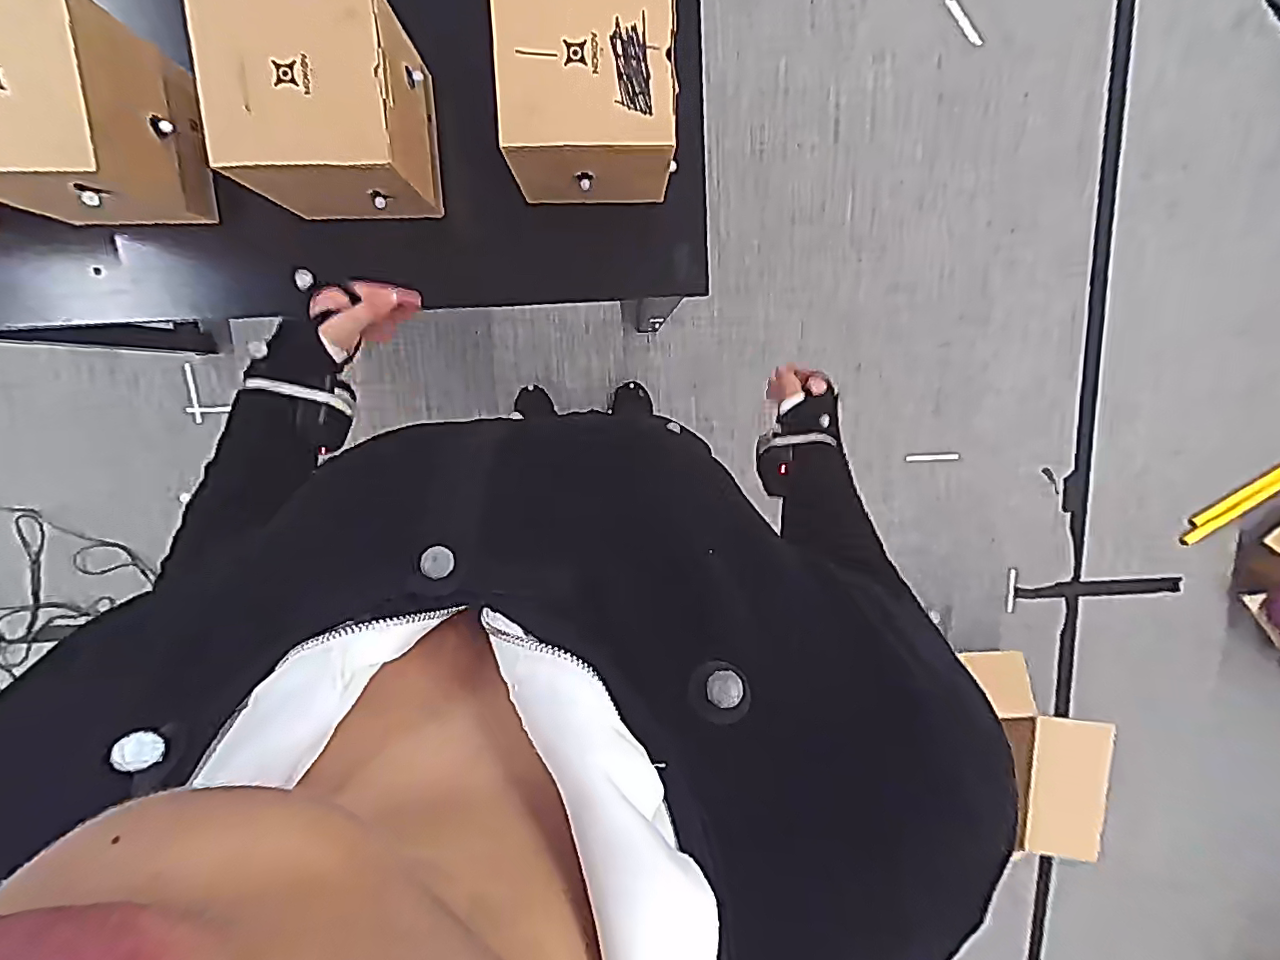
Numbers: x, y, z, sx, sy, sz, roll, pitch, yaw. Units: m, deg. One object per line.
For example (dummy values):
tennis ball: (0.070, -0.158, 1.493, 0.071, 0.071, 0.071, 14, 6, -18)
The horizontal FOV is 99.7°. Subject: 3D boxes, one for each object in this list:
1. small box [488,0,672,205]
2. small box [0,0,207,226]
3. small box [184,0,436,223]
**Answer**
small box: (-0.060, -0.420, 0.601, 0.179, 0.176, 0.168, -1, 99, -1)
small box: (-0.610, -0.384, 0.580, 0.179, 0.176, 0.168, -2, 100, -3)
small box: (-0.337, -0.395, 0.594, 0.179, 0.176, 0.168, -3, 99, -2)
